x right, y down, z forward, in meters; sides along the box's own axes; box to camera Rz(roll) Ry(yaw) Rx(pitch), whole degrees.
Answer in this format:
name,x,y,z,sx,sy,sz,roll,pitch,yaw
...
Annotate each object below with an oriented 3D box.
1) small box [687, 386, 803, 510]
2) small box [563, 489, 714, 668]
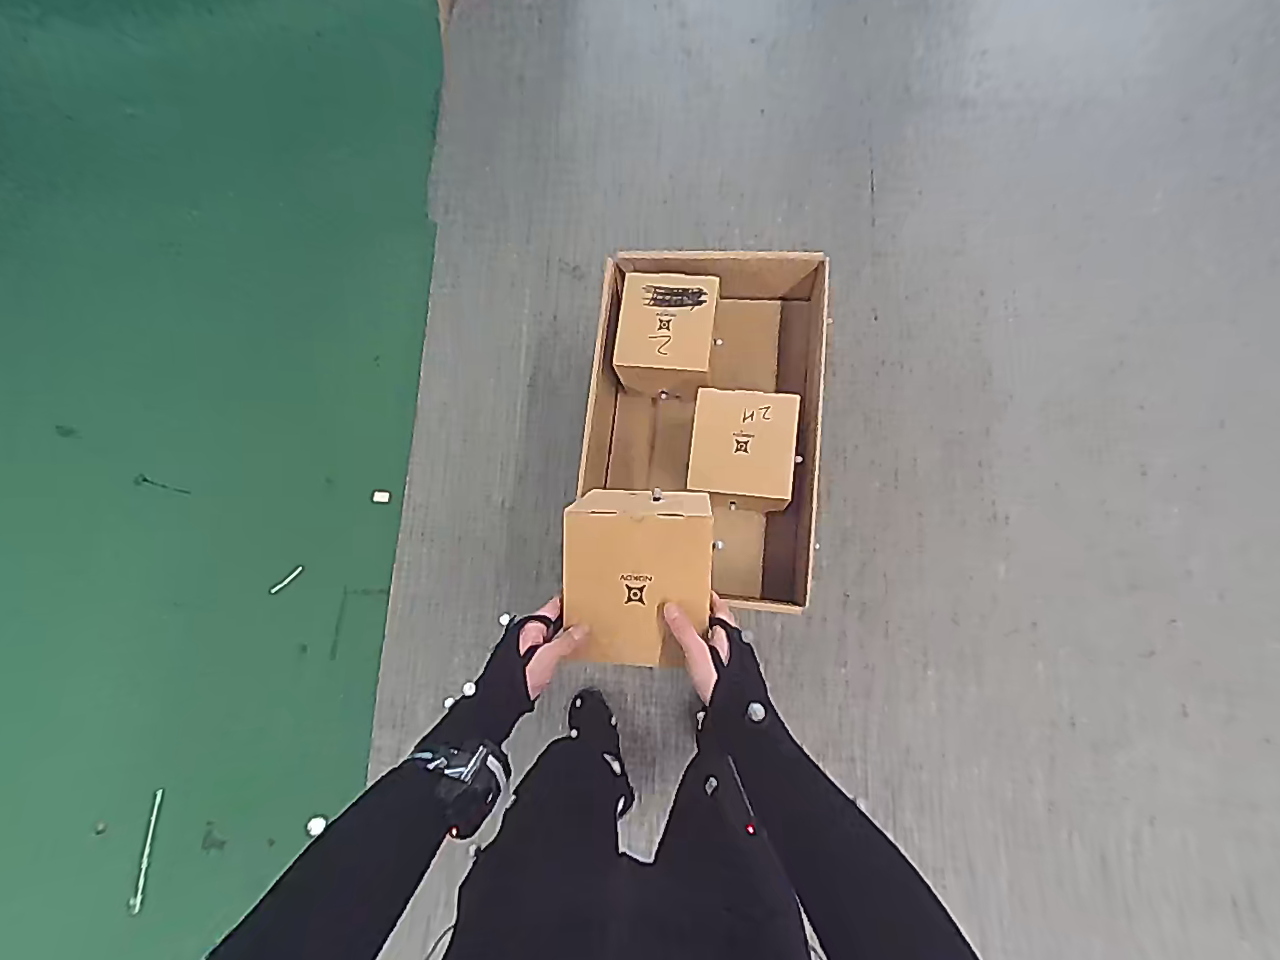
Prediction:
name,x,y,z,sx,sy,sz,roll,pitch,yaw
small box,0.179,-0.047,0.933,0.168,0.176,0.179,7,81,10
small box,0.006,0.110,0.672,0.168,0.176,0.179,2,95,6
